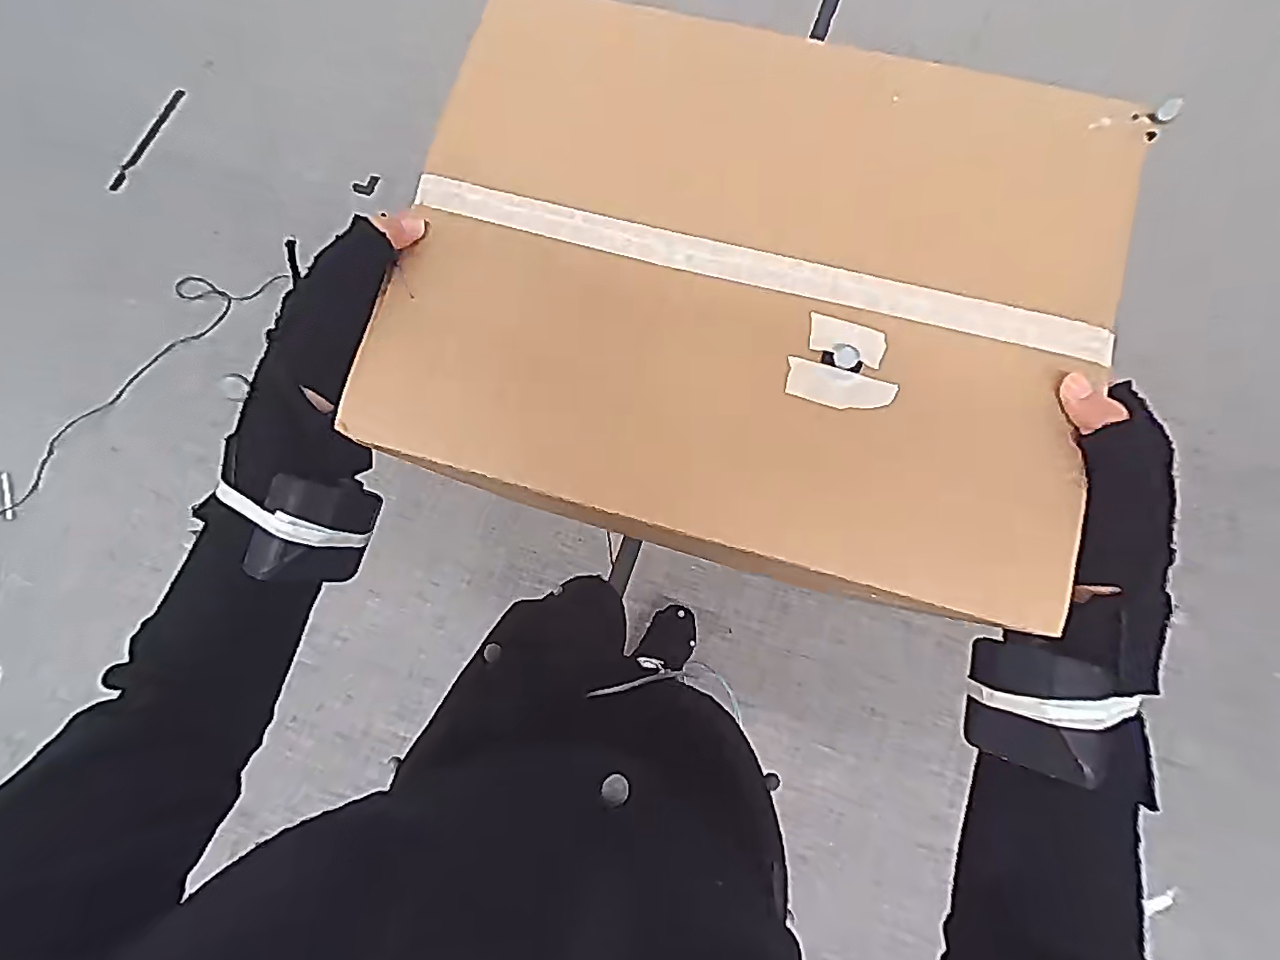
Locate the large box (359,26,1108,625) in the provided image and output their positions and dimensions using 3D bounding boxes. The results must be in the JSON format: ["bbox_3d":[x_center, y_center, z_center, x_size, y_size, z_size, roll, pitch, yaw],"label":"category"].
[{"bbox_3d":[0.064,-0.091,0.474,0.408,0.320,0.320,15,83,5],"label":"large box"}]
